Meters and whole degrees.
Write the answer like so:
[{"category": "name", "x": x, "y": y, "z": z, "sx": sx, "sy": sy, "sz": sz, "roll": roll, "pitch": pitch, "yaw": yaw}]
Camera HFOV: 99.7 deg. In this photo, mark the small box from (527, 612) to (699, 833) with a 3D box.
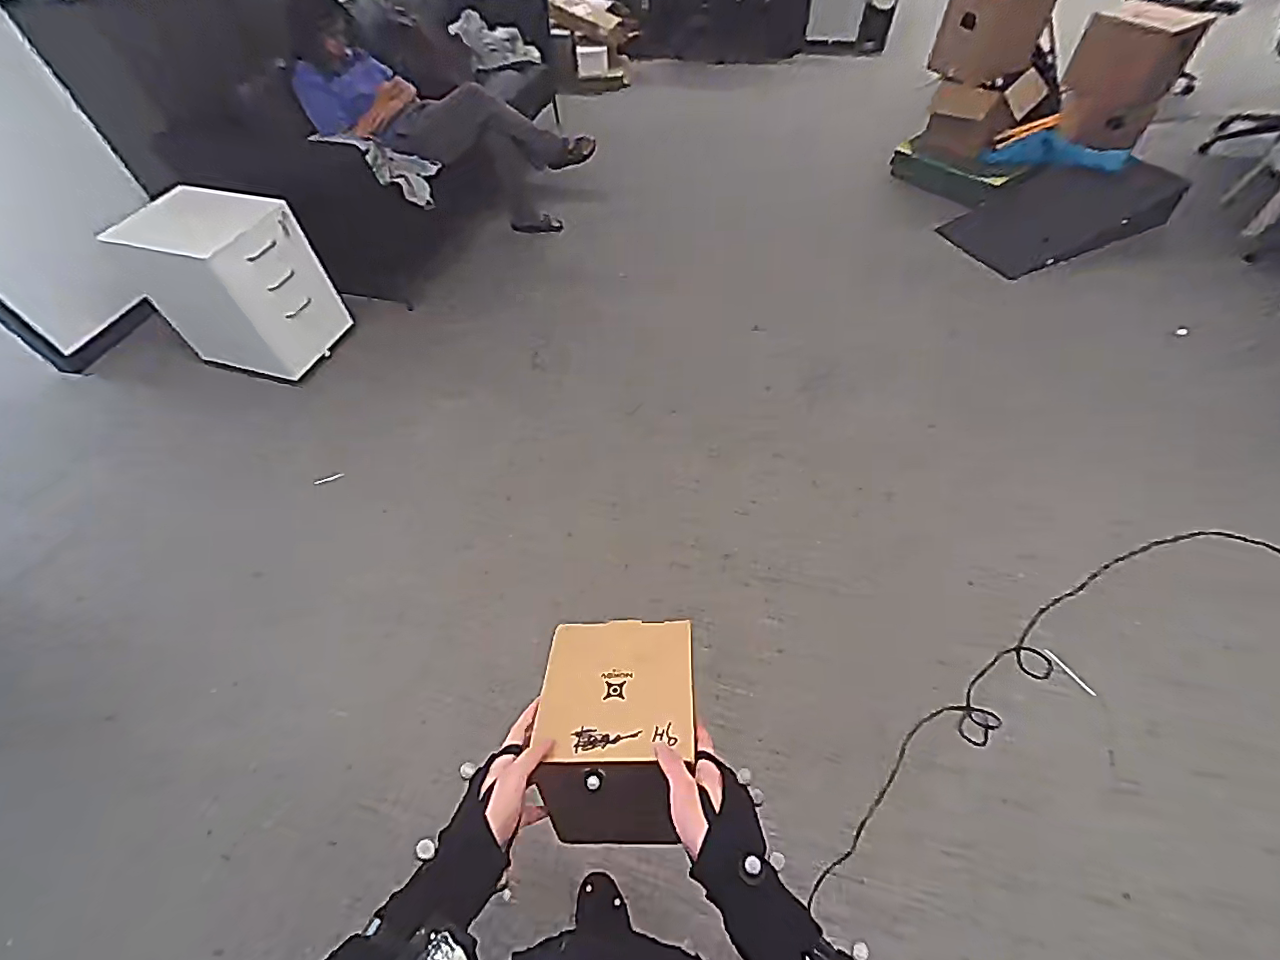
[{"category": "small box", "x": -0.018, "y": 0.278, "z": 0.636, "sx": 0.168, "sy": 0.176, "sz": 0.179, "roll": -4, "pitch": 33, "yaw": 7}]
